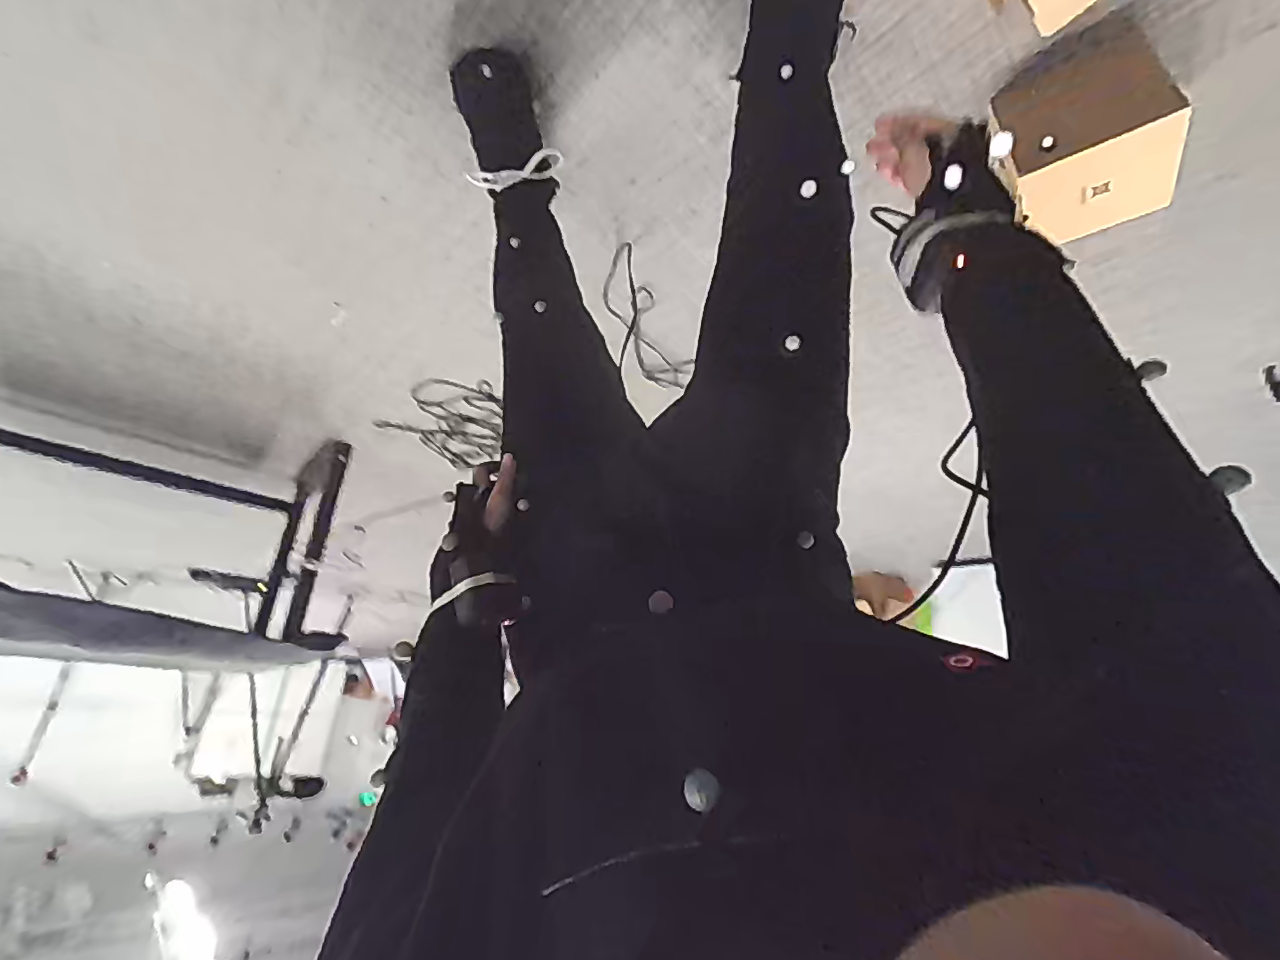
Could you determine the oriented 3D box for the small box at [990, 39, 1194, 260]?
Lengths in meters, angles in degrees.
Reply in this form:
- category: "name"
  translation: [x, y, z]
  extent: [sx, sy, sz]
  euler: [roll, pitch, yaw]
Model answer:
- category: "small box"
  translation: [0.626, -0.463, 0.770]
  extent: [0.179, 0.176, 0.168]
  euler: [-15, 151, 32]
